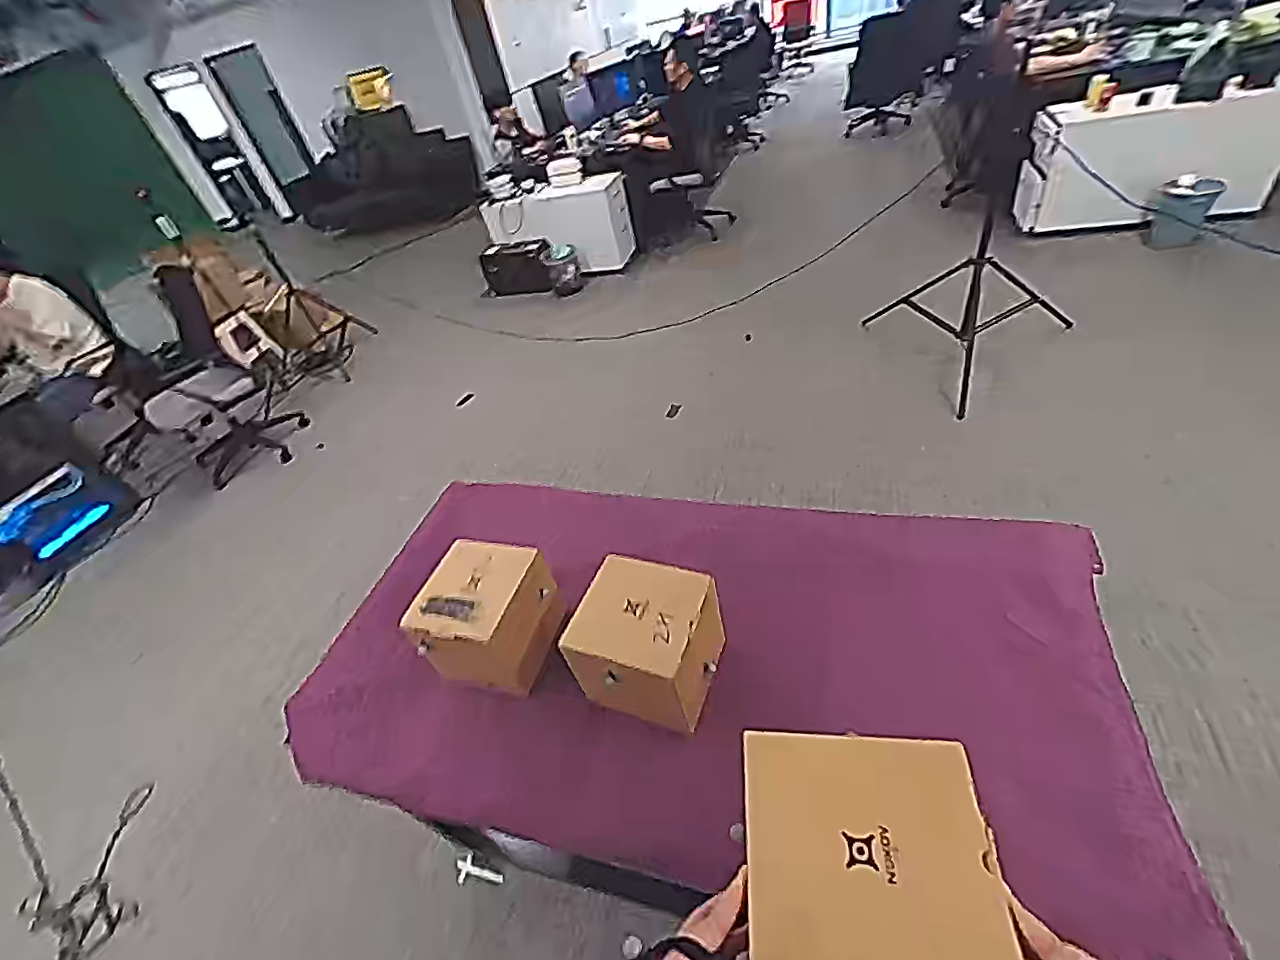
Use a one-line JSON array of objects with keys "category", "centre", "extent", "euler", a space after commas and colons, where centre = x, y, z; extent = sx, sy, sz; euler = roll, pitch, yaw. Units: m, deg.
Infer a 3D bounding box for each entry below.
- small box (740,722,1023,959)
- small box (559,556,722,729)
[{"category": "small box", "centre": [0.176, 0.322, 0.451], "extent": [0.179, 0.176, 0.168], "euler": [-1, 44, 11]}, {"category": "small box", "centre": [0.012, 0.242, 0.806], "extent": [0.179, 0.176, 0.168], "euler": [8, 46, 25]}]
